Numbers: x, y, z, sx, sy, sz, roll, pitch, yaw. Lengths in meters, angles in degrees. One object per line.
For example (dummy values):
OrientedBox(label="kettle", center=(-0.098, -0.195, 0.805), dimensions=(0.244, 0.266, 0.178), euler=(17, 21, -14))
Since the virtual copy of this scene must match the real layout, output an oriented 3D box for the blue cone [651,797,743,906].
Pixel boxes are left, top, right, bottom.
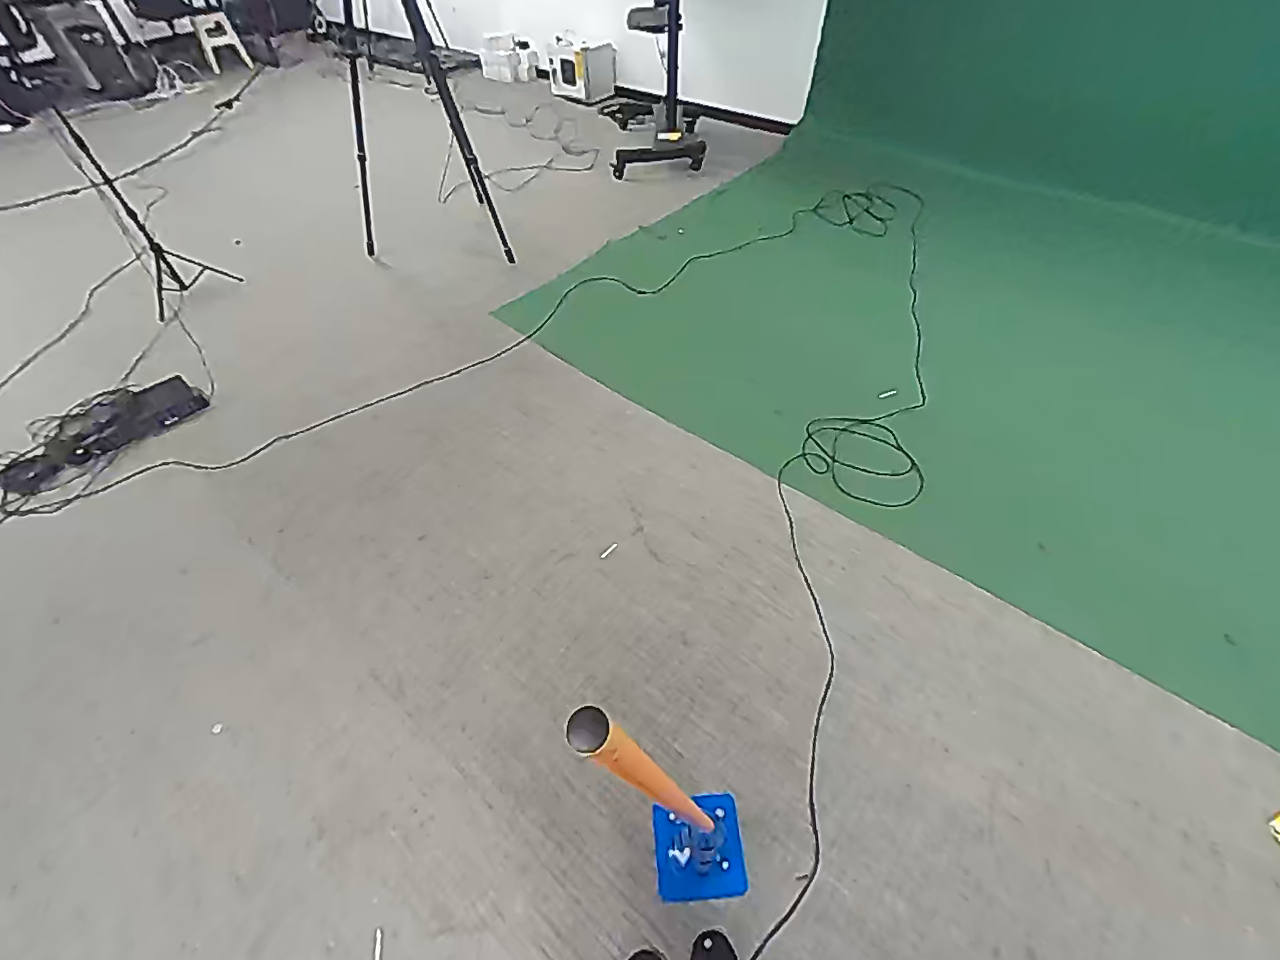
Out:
OrientedBox(label="blue cone", center=(0.120, 0.730, 1.092), dimensions=(0.193, 0.380, 0.192), euler=(-6, 51, -2))
